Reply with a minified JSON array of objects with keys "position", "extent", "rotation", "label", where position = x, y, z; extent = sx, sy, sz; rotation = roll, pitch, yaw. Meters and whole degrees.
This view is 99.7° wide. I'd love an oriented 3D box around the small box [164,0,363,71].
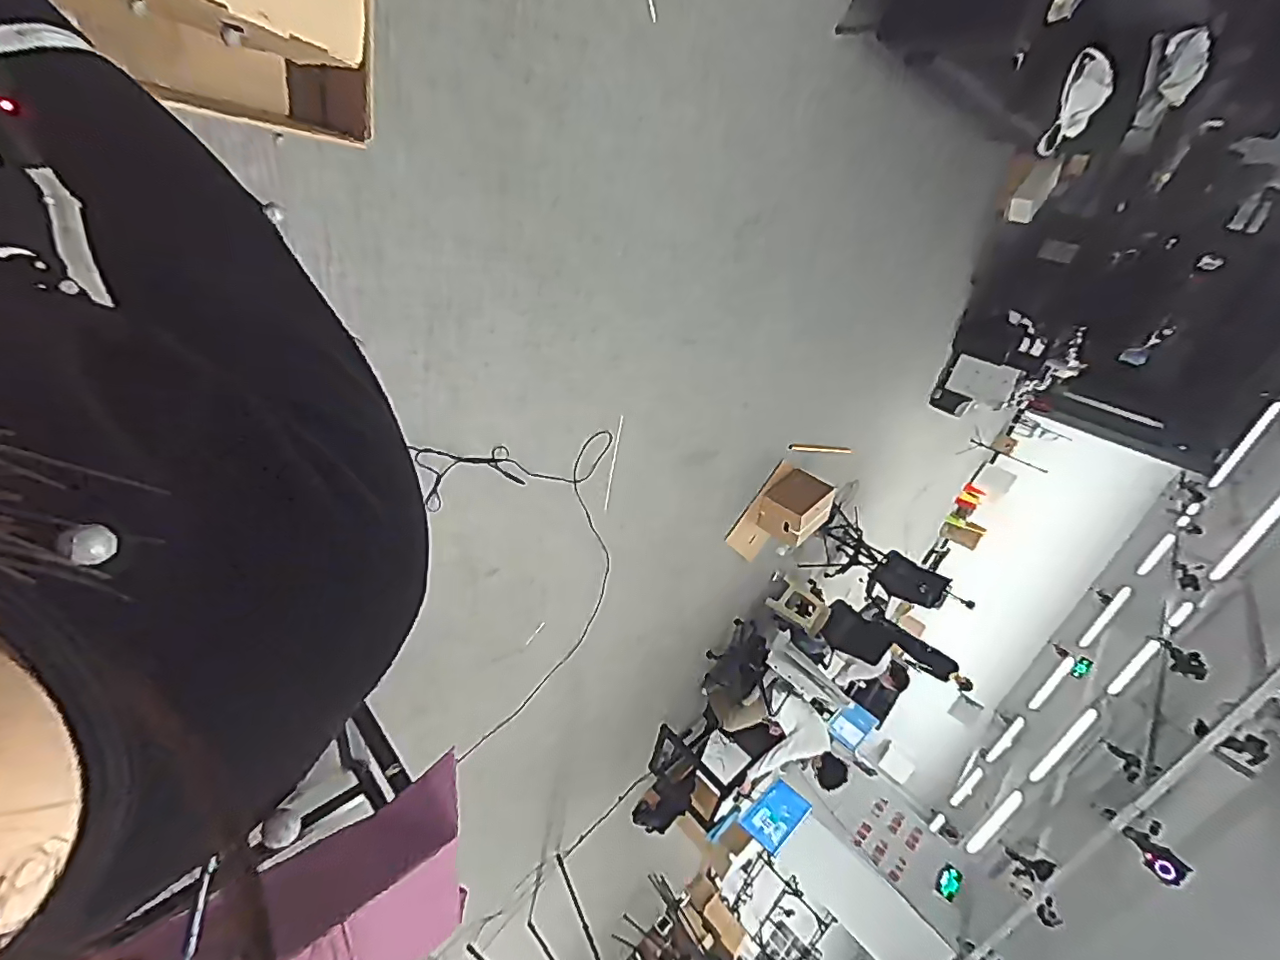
[{"position":[-0.353,-0.500,0.473],"extent":[0.168,0.176,0.179],"rotation":[-7,124,-47],"label":"small box"}]
